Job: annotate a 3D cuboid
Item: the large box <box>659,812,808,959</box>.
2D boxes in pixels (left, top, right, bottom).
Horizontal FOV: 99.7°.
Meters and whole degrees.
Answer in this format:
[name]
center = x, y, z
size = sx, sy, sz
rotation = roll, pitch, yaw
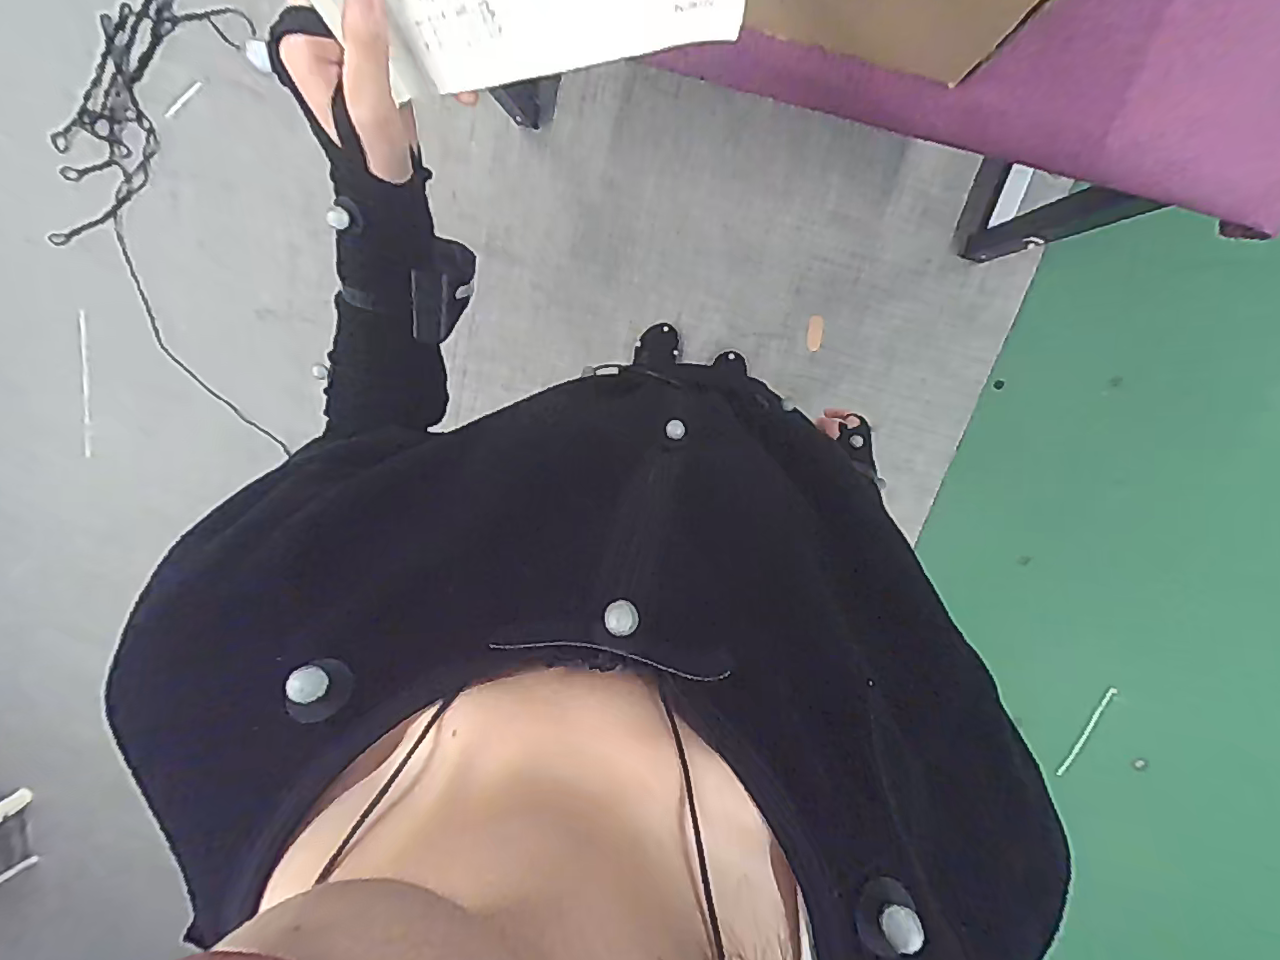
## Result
[large box]
center = 0.264, 1.268, 1.638
size = 0.408, 0.320, 0.320
rotation = 3, 105, 5
